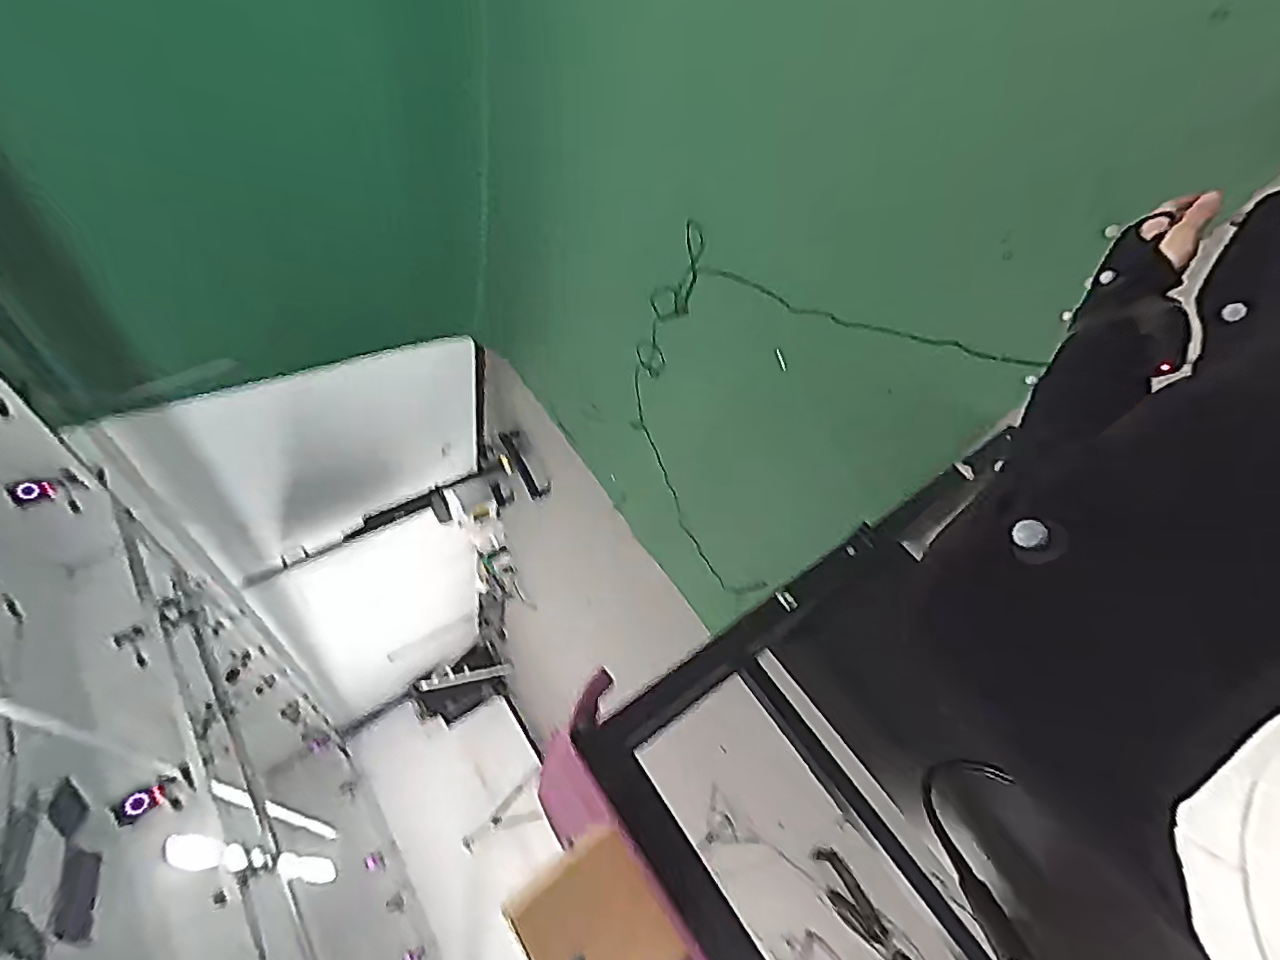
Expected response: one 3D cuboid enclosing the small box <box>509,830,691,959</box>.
[{"bbox_3d":[-0.058,0.618,0.738,0.179,0.176,0.168,53,146,19],"label":"small box"}]
